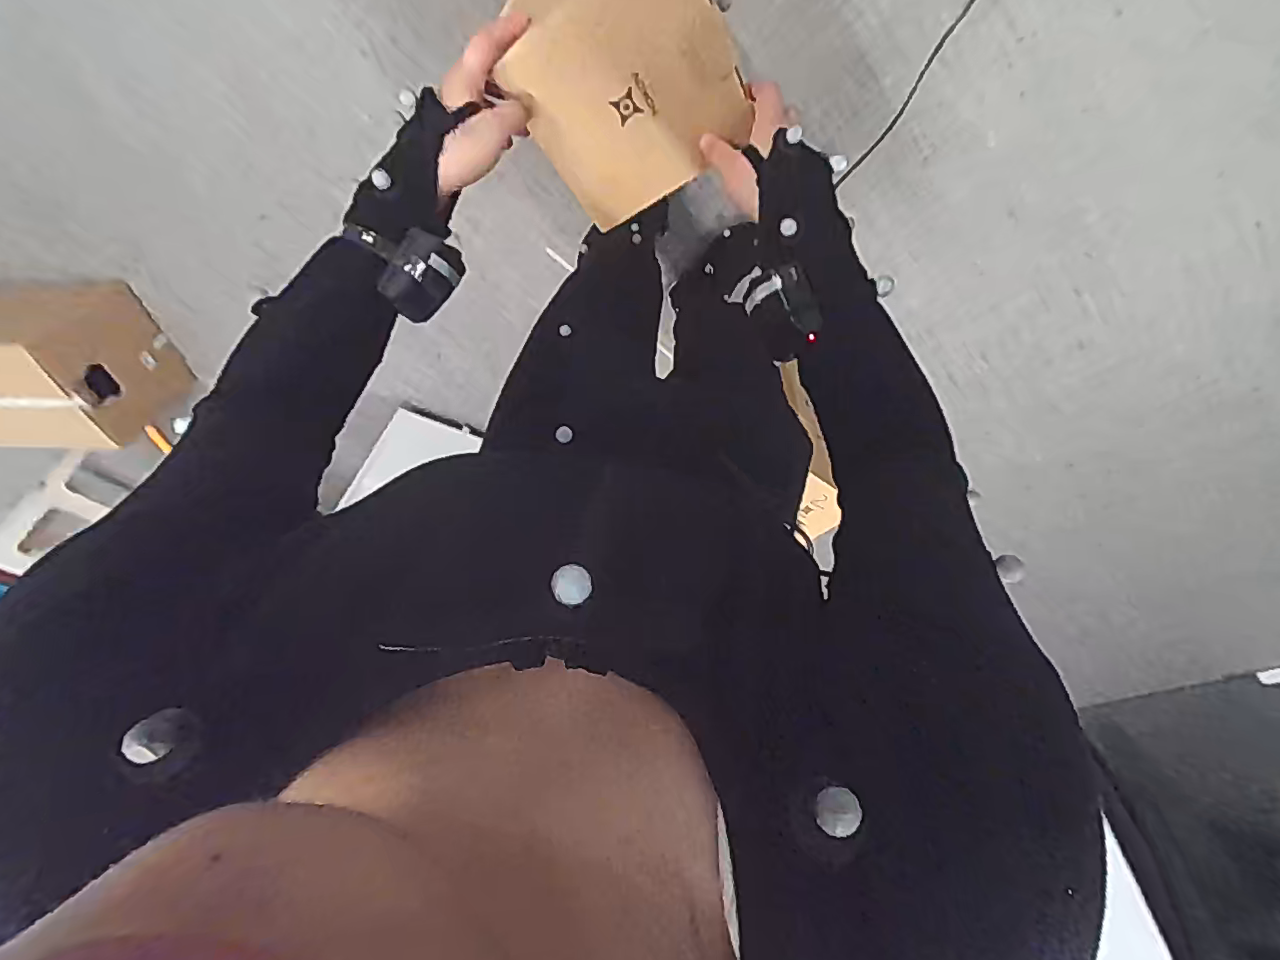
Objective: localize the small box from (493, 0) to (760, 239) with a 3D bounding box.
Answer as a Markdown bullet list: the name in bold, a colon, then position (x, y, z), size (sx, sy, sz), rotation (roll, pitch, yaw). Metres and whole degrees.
- **small box**: position (-0.007, -0.375, 0.505), size (0.179, 0.176, 0.168), rotation (-21, 142, 25)

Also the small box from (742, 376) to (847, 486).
- **small box**: position (0.361, -0.123, 1.297), size (0.179, 0.176, 0.168), rotation (30, 132, -25)
